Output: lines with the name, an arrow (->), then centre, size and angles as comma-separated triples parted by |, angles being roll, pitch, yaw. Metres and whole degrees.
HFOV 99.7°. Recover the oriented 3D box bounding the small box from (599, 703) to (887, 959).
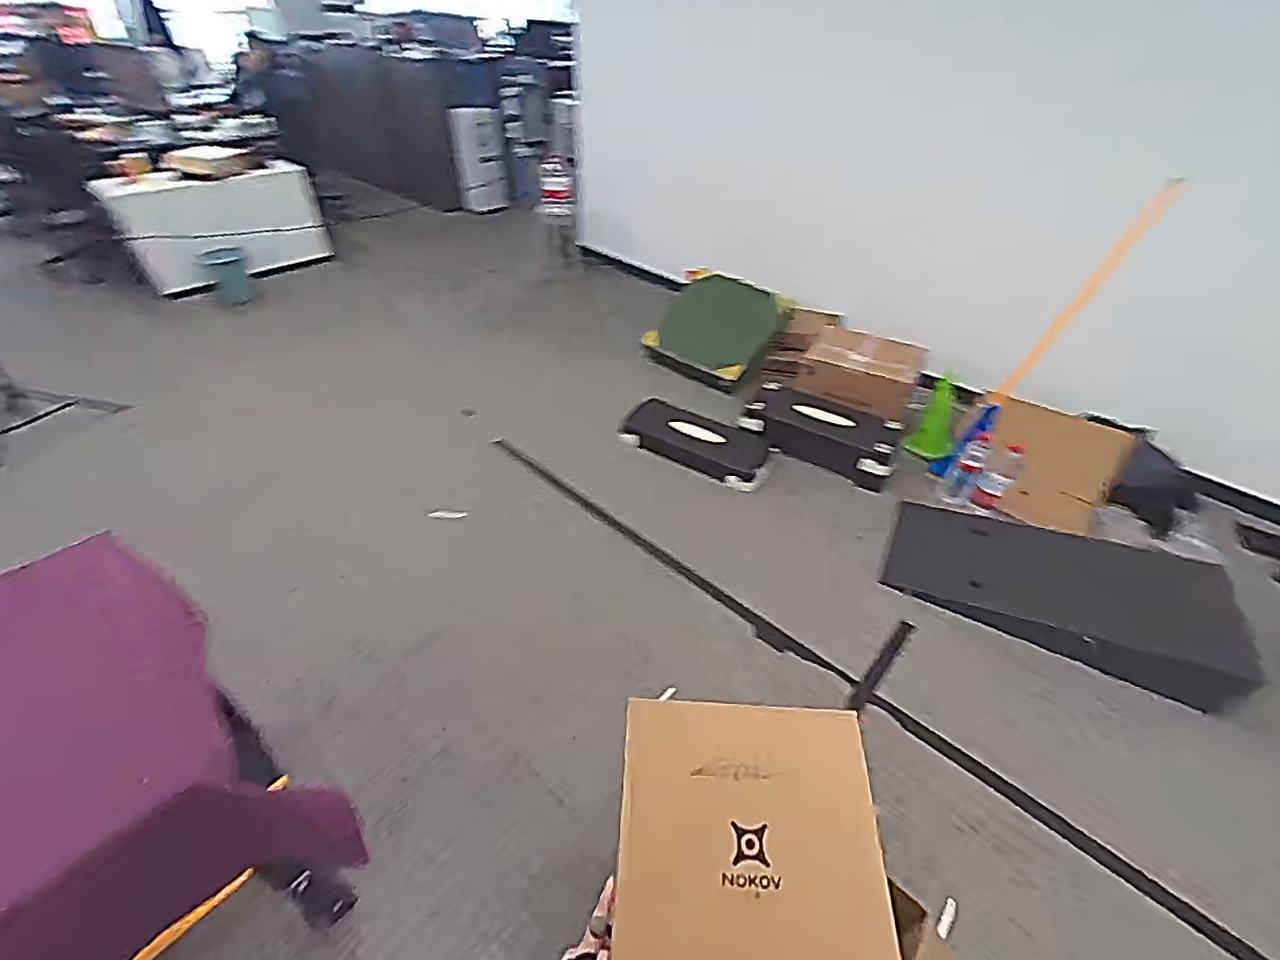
small box -> 0.058, 0.280, 0.396 | 0.168, 0.176, 0.179 | 3, 52, -1
